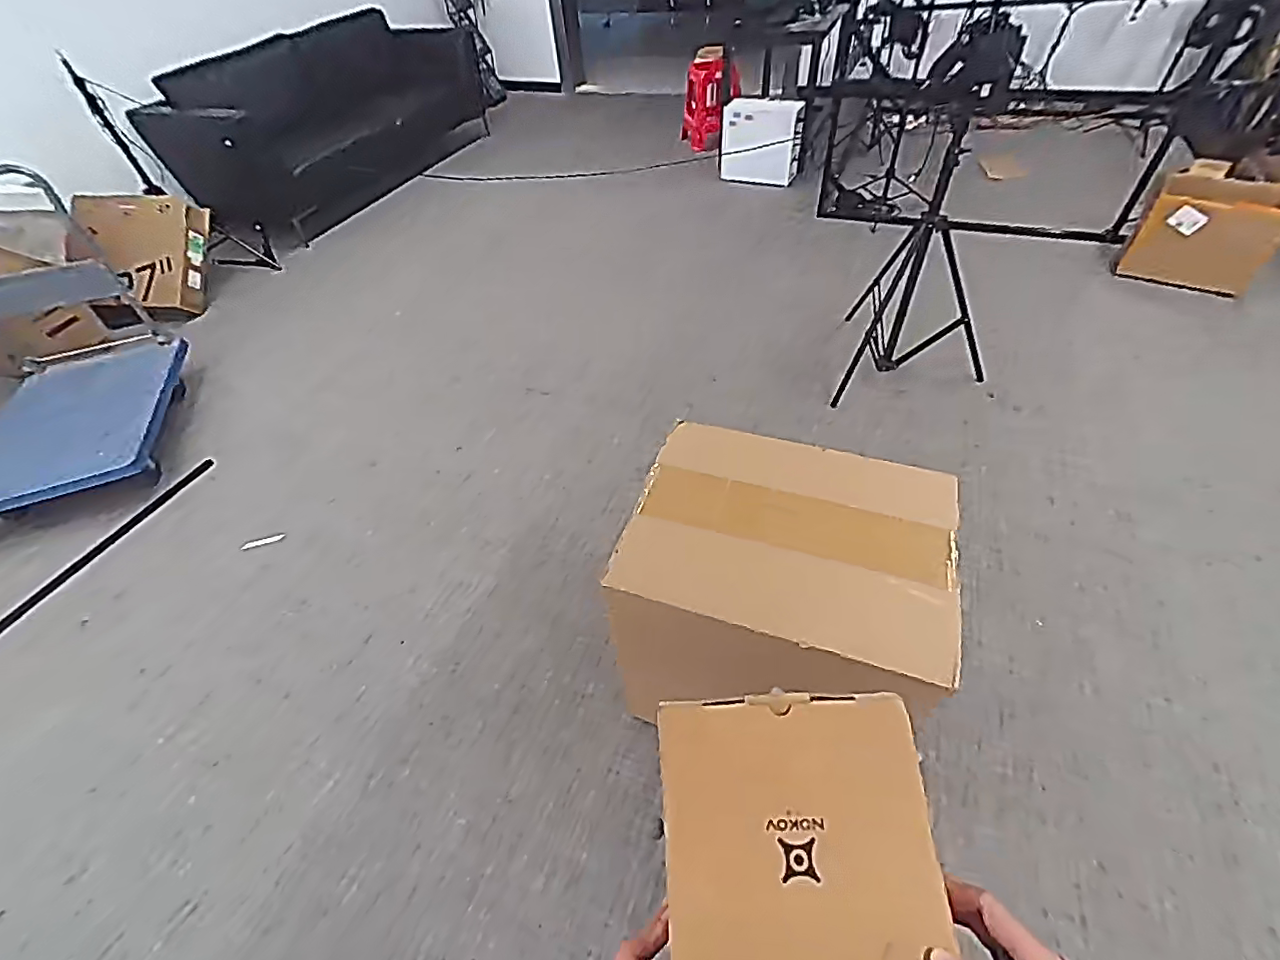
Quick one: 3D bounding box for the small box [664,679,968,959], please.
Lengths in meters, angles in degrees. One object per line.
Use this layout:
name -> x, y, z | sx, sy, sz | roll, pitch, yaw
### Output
small box -> 0.109, 0.250, 0.403 | 0.168, 0.176, 0.179 | -4, 64, 5
